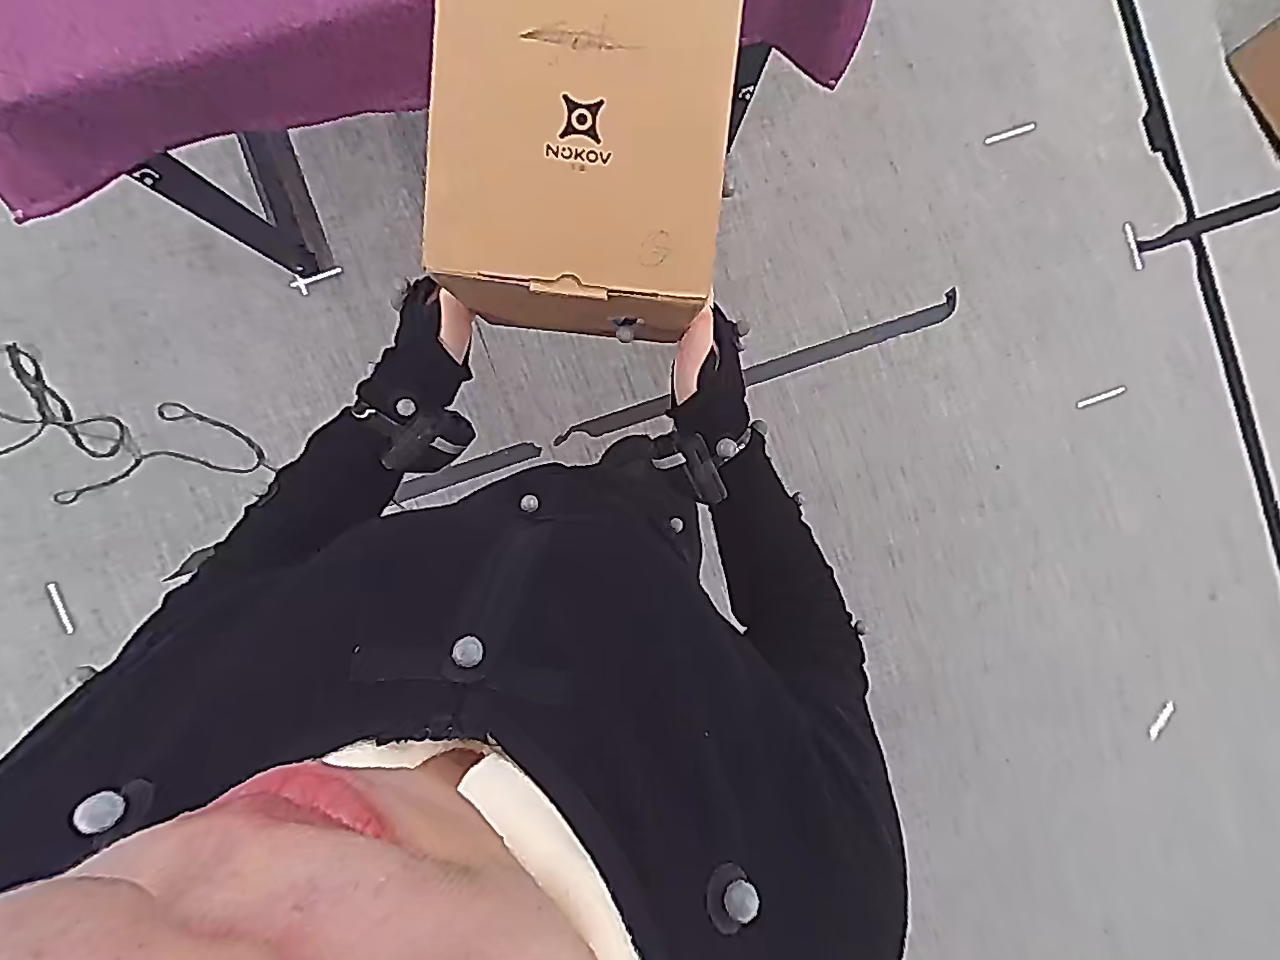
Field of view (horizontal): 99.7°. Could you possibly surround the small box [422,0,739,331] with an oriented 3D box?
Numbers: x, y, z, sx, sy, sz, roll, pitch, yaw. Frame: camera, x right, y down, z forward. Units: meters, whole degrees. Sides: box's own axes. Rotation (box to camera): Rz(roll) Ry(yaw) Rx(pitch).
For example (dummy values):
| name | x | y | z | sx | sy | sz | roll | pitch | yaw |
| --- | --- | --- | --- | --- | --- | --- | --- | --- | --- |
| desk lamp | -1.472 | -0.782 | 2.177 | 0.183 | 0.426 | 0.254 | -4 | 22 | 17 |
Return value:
| name | x | y | z | sx | sy | sz | roll | pitch | yaw |
| --- | --- | --- | --- | --- | --- | --- | --- | --- | --- |
| small box | -0.038 | -0.208 | 0.378 | 0.168 | 0.176 | 0.179 | 5 | 96 | -4 |
